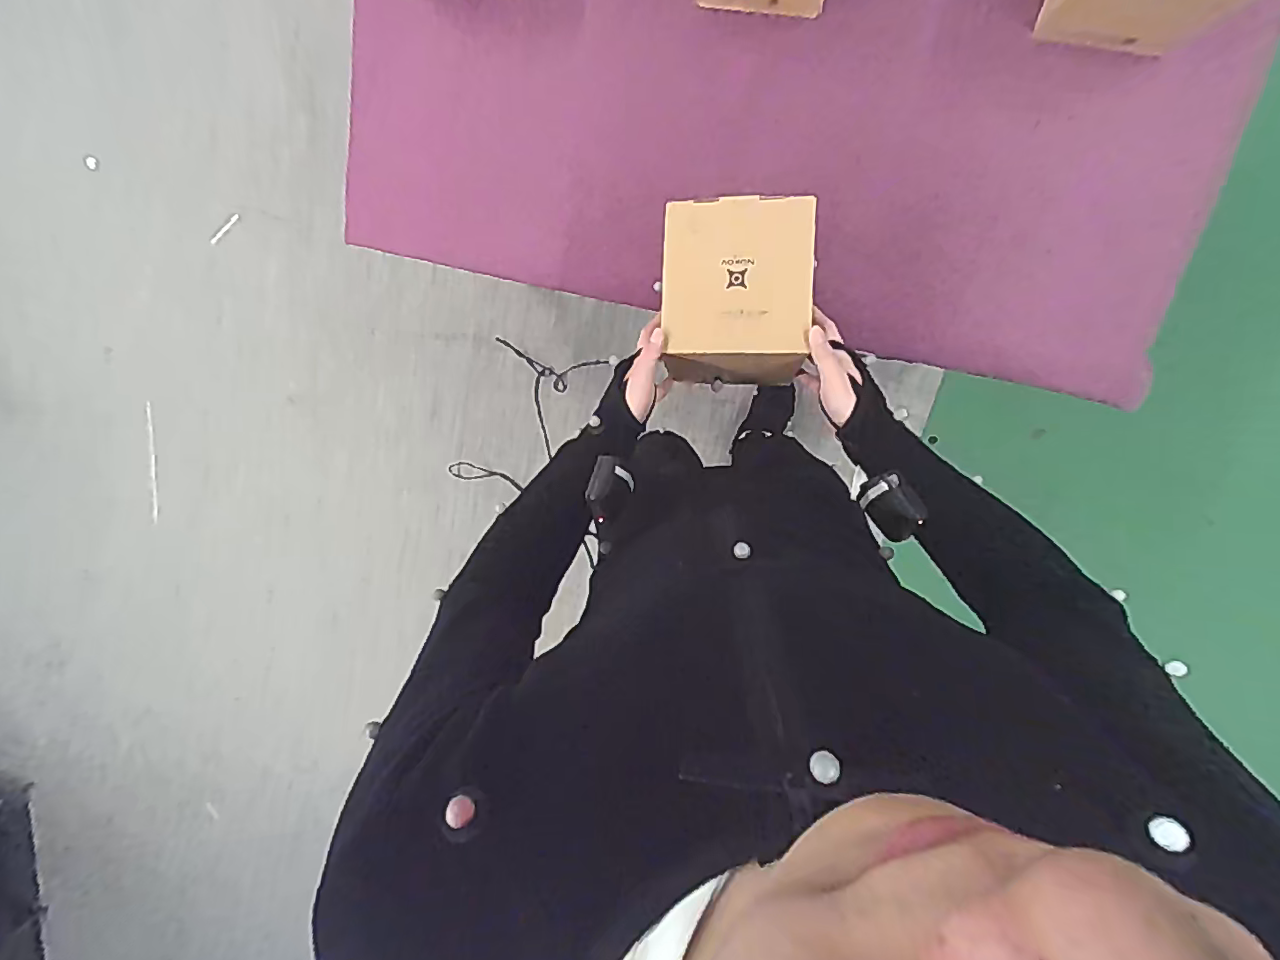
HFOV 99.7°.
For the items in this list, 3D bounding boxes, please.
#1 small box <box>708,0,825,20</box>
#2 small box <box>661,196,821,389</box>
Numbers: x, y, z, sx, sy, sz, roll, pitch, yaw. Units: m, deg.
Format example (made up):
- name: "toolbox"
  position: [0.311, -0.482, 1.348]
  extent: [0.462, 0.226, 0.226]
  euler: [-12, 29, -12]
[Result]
- name: "small box"
  position: [0.161, -0.685, 0.620]
  extent: [0.168, 0.176, 0.179]
  euler: [12, 106, 7]
- name: "small box"
  position: [0.118, -0.218, 0.664]
  extent: [0.168, 0.176, 0.179]
  euler: [3, 88, 8]
